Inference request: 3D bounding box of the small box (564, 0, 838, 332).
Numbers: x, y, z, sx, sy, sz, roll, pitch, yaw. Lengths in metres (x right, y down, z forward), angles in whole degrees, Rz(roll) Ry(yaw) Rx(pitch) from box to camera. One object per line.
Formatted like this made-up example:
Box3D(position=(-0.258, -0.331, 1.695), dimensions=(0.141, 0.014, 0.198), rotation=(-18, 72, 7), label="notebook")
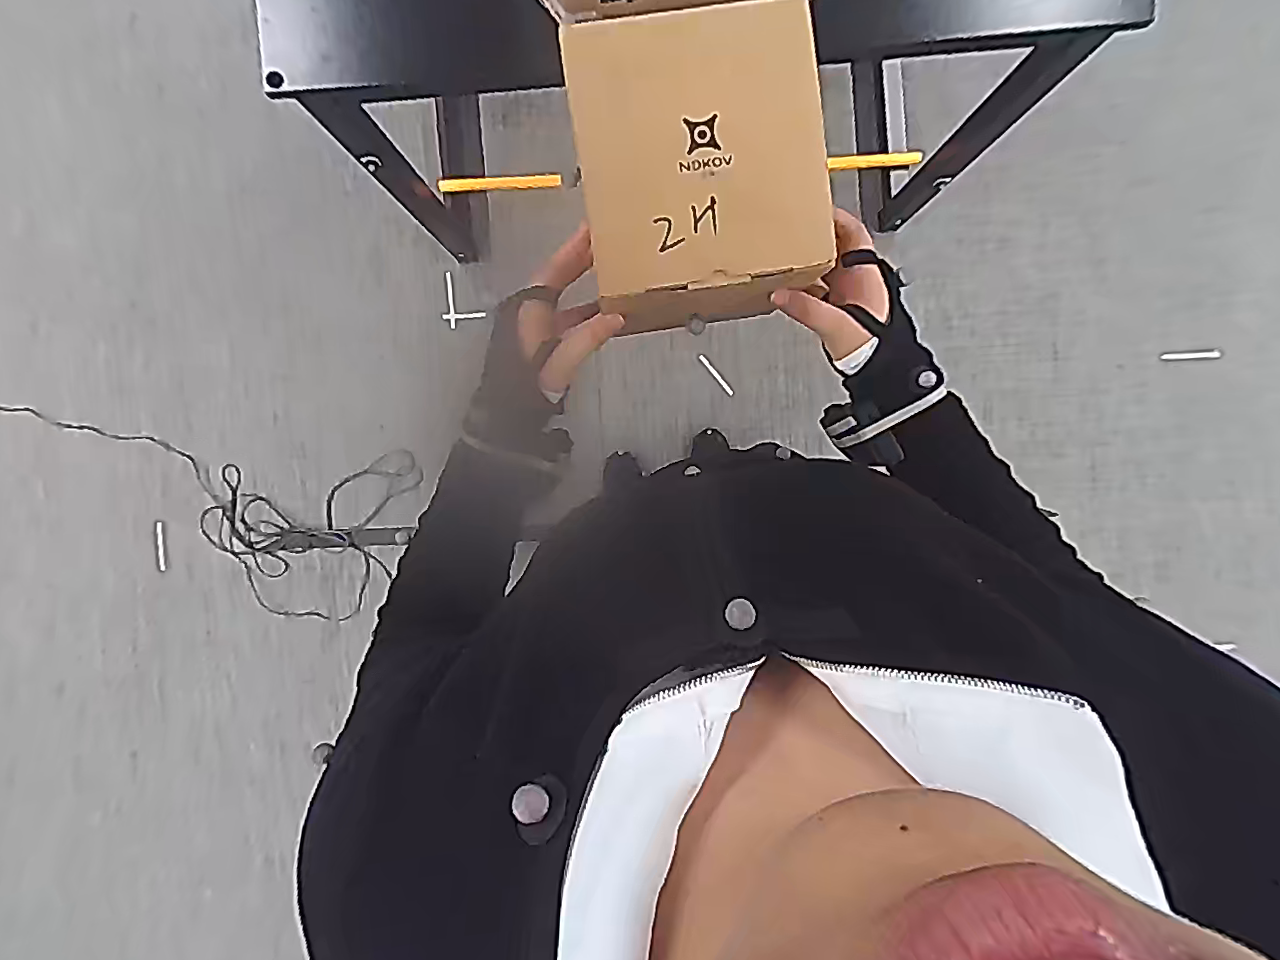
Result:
Box3D(position=(0.038, -0.231, 0.434), dimensions=(0.168, 0.176, 0.179), rotation=(-9, 96, -1), label="small box")
